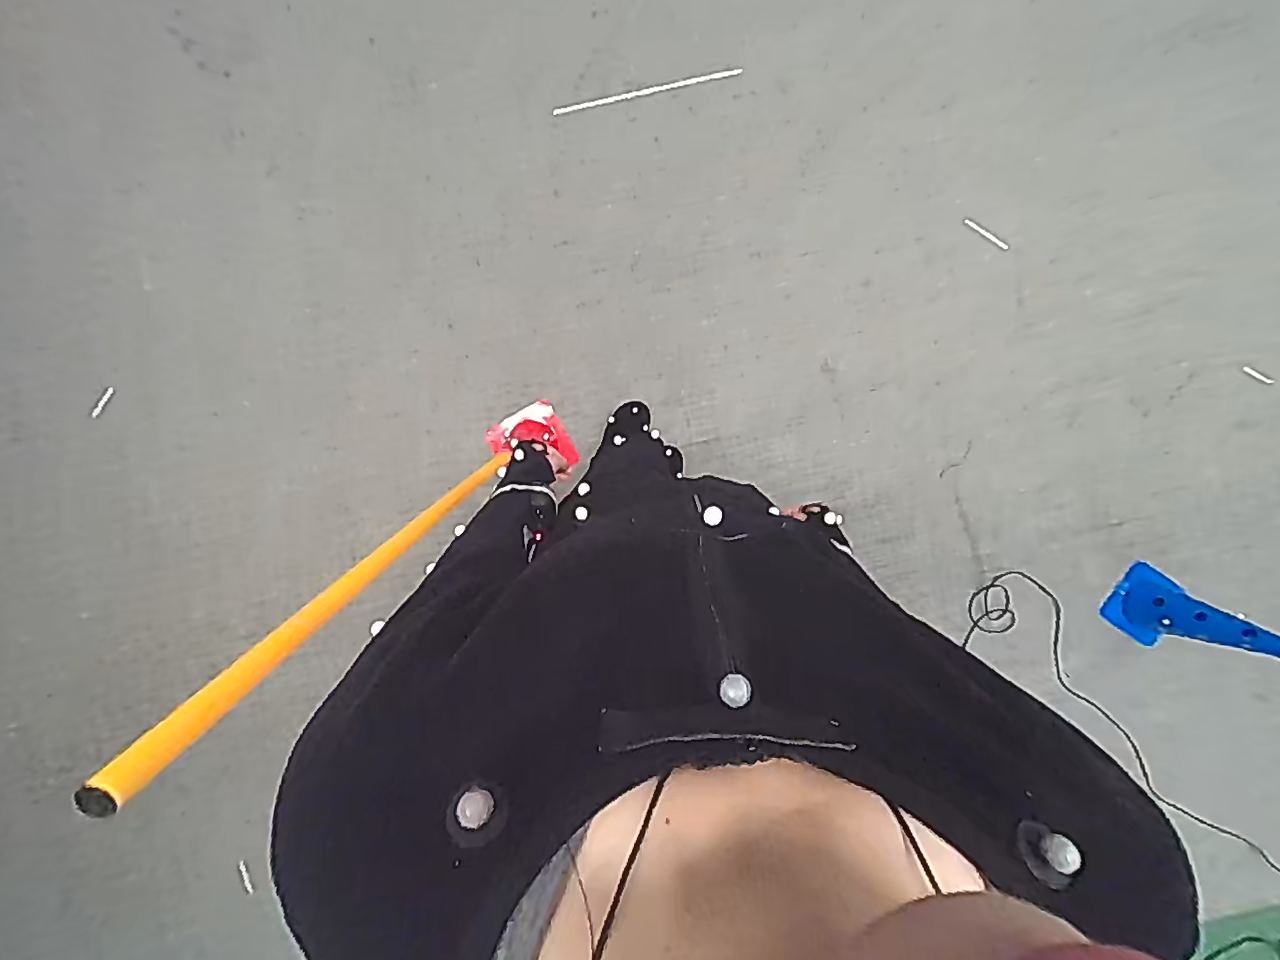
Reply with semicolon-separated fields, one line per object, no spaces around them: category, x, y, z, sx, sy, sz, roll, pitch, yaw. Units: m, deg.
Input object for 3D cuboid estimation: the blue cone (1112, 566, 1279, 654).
blue cone;1.475;0.371;1.392;0.192;0.380;0.193;31;92;-4
